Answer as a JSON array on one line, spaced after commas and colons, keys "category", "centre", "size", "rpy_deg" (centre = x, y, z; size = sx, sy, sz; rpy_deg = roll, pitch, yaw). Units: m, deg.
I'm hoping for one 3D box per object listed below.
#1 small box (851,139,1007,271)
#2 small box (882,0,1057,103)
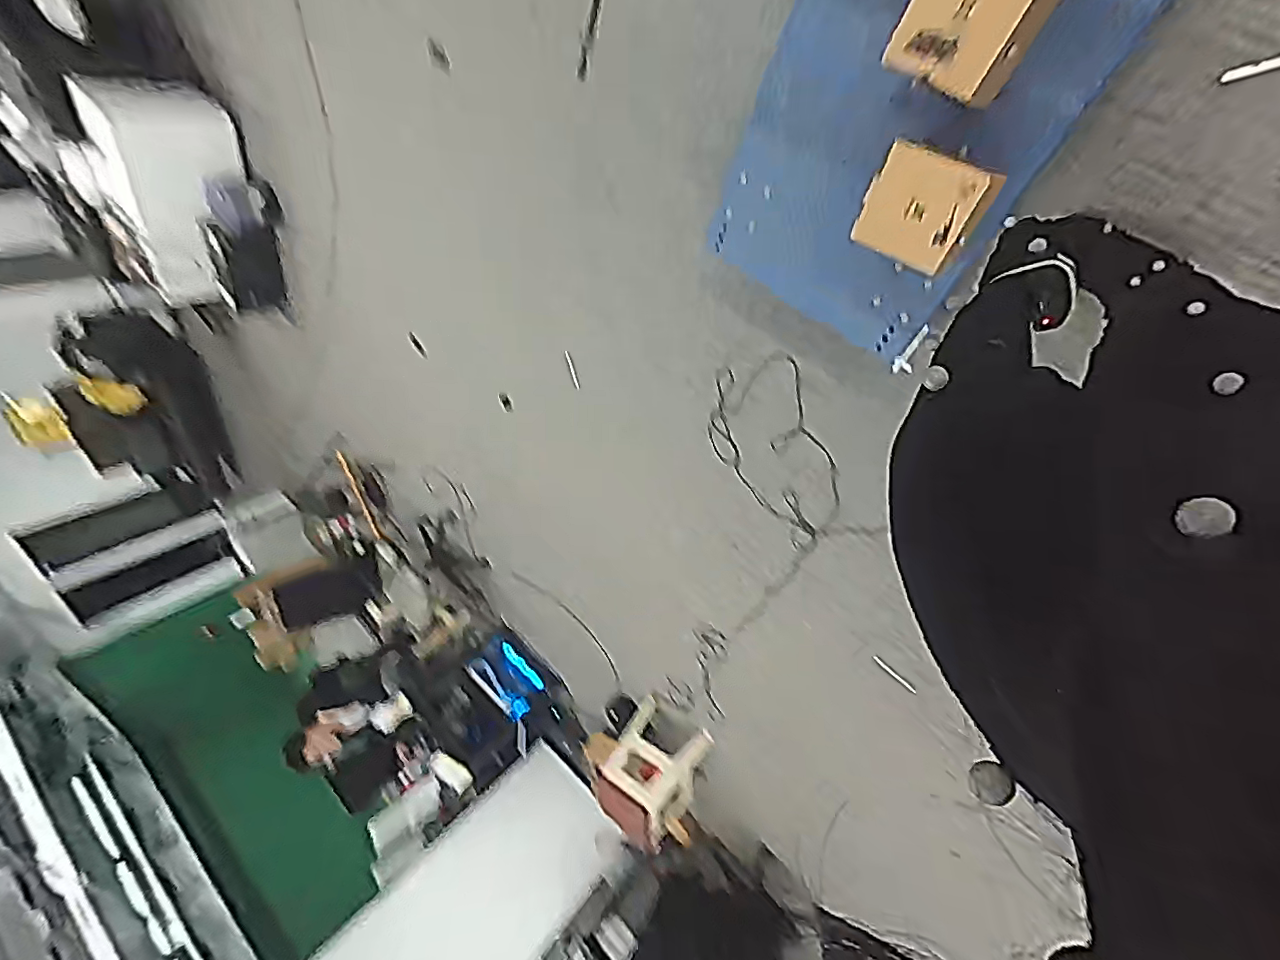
[{"category": "small box", "centre": [0.537, -0.511, 1.006], "size": [0.179, 0.176, 0.168], "rpy_deg": [38, 134, 22]}, {"category": "small box", "centre": [0.536, -0.739, 0.872], "size": [0.168, 0.176, 0.179], "rpy_deg": [41, 135, 17]}]
